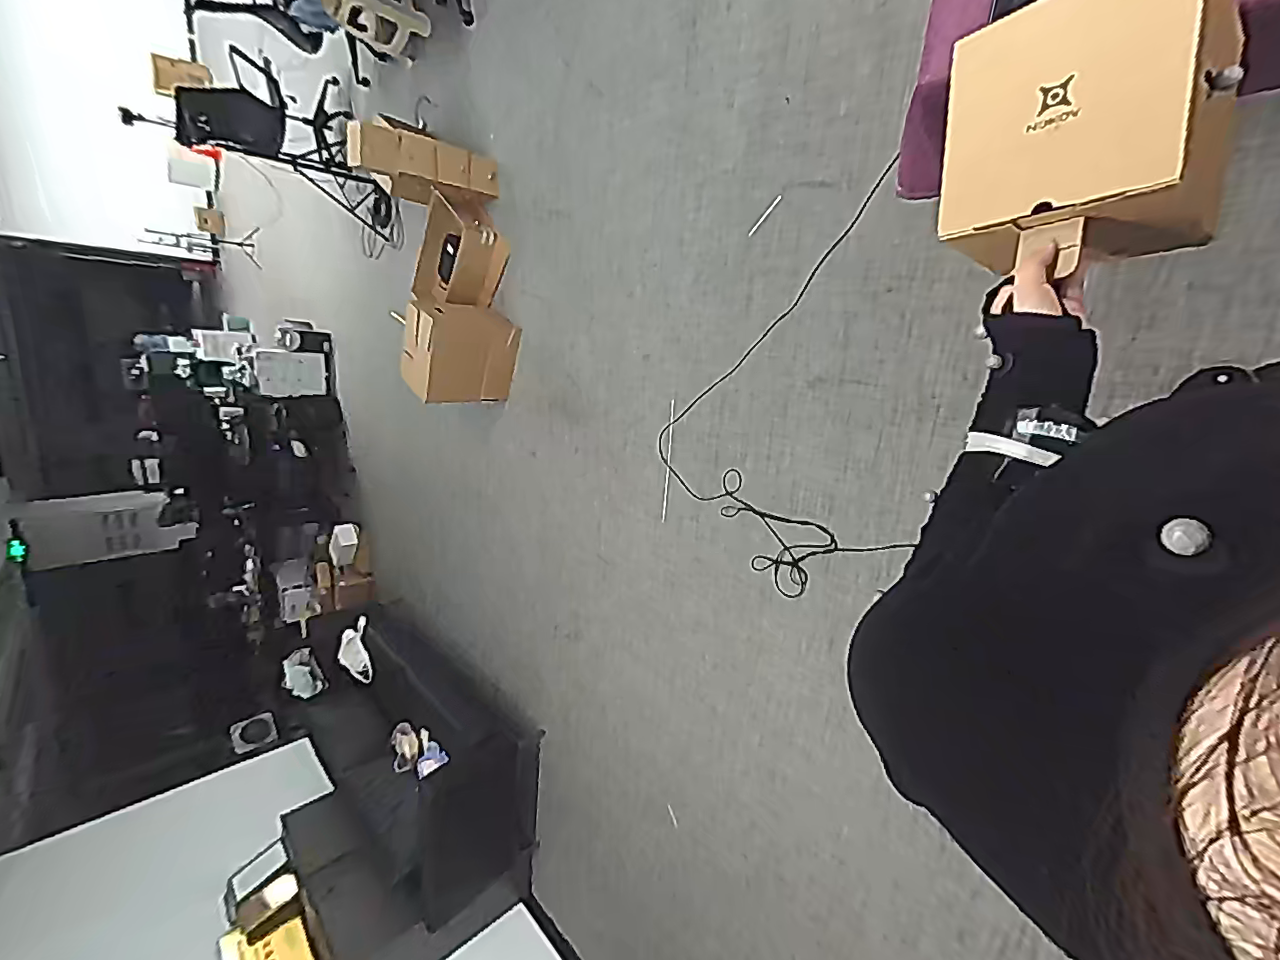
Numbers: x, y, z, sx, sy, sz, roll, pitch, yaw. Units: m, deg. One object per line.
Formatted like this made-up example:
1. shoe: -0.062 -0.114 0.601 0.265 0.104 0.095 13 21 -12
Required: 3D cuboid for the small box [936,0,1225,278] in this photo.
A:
1. small box: 0.400 -0.305 0.495 0.168 0.176 0.179 9 98 51
